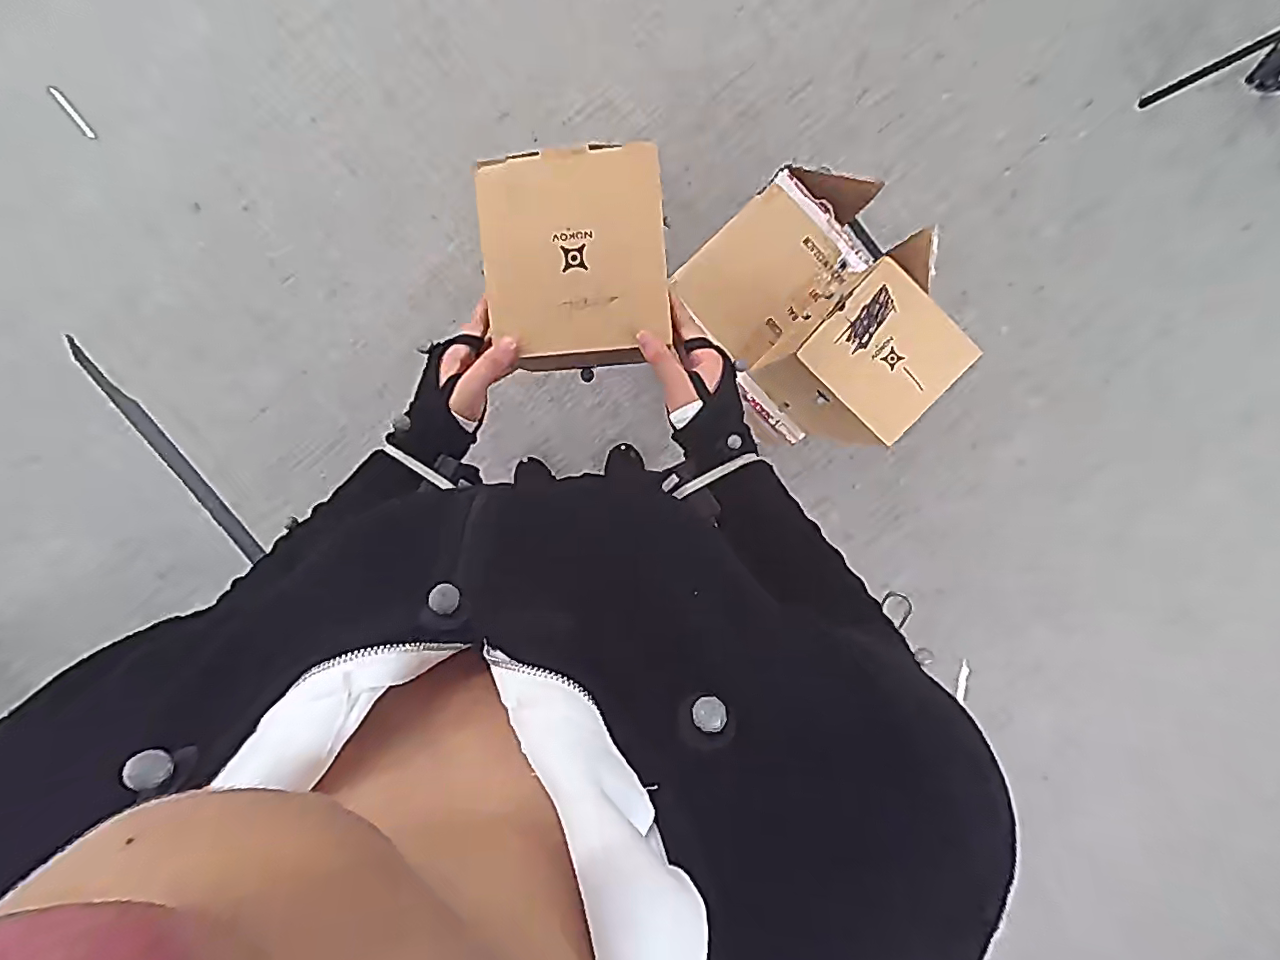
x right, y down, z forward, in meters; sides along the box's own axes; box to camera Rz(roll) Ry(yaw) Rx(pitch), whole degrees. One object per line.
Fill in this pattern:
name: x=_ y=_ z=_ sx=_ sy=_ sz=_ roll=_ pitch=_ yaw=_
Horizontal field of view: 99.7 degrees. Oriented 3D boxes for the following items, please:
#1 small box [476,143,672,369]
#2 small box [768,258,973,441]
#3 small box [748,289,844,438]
small box: x=-0.058 y=-0.216 z=0.566 sx=0.168 sy=0.176 sz=0.179 roll=-5 pitch=99 yaw=2
small box: x=0.309 y=-0.172 z=0.768 sx=0.179 sy=0.176 sz=0.168 roll=43 pitch=96 yaw=-5
small box: x=0.314 y=-0.194 z=0.932 sx=0.179 sy=0.176 sz=0.168 roll=43 pitch=95 yaw=-5
